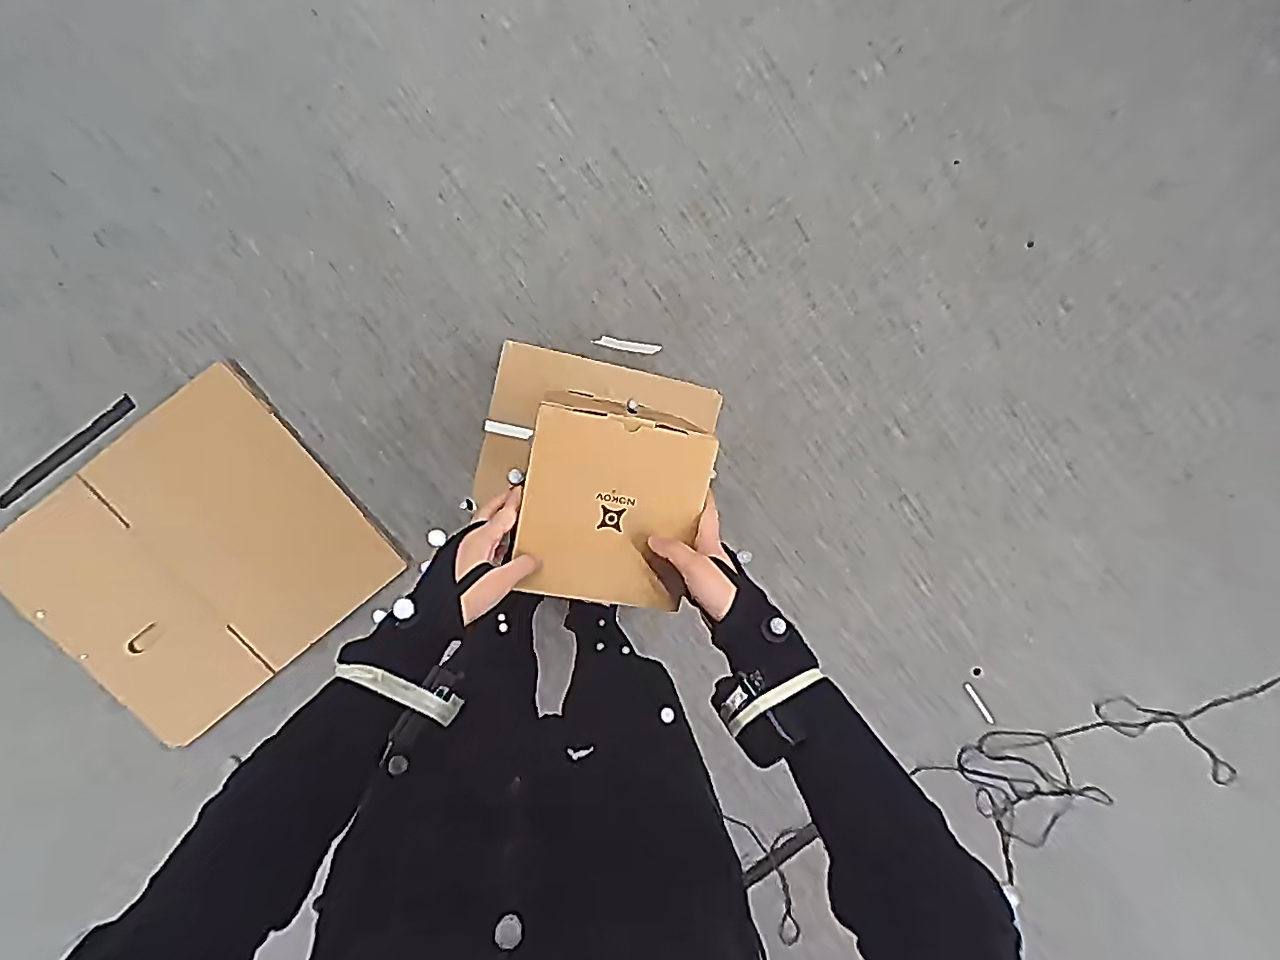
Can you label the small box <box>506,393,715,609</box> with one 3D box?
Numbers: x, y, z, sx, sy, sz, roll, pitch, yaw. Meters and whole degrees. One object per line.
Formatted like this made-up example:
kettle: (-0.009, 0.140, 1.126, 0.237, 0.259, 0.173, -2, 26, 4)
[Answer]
small box: (-0.037, 0.011, 0.570, 0.168, 0.176, 0.179, 10, 99, -10)
